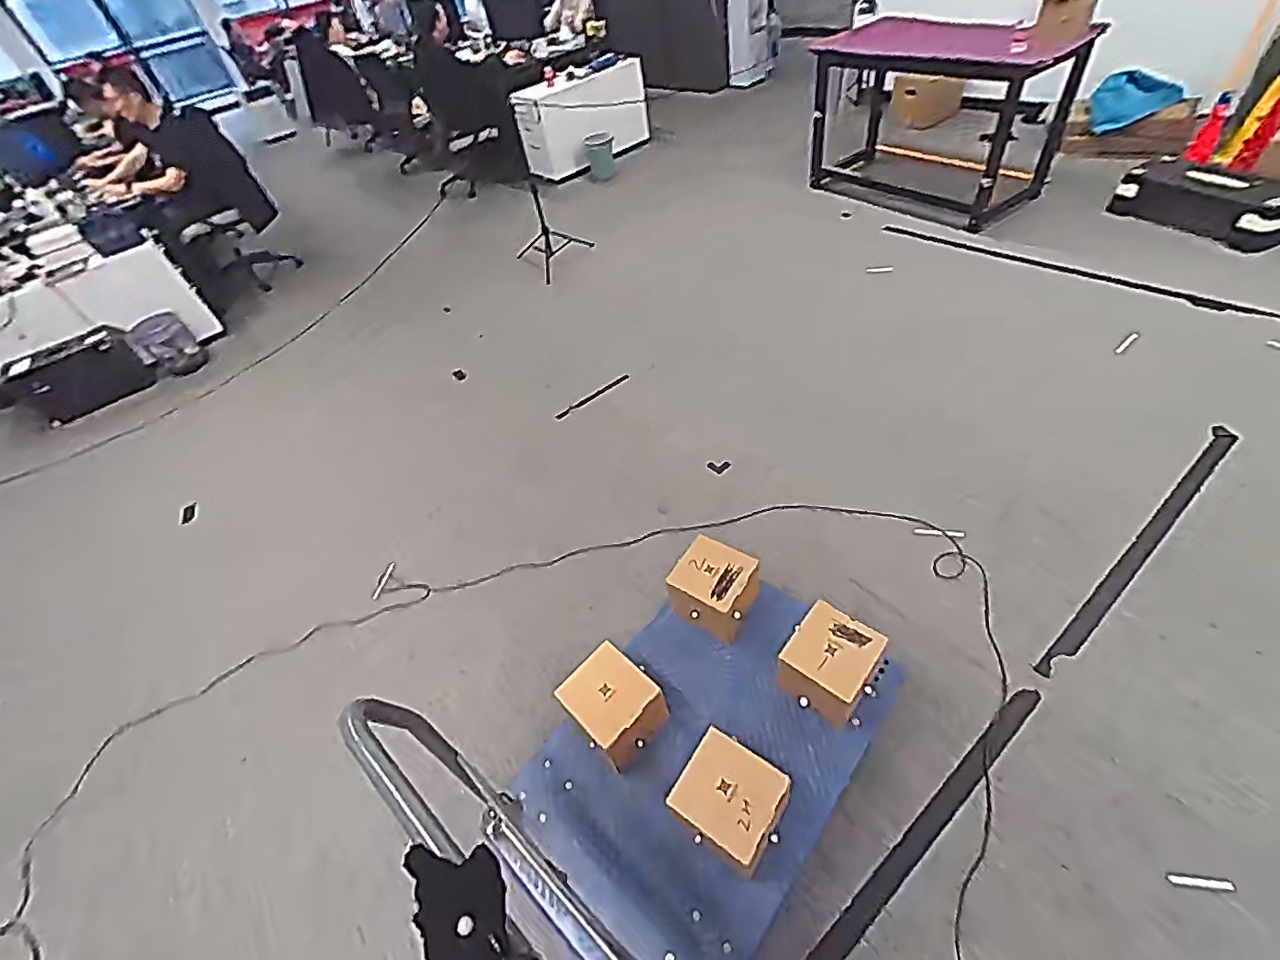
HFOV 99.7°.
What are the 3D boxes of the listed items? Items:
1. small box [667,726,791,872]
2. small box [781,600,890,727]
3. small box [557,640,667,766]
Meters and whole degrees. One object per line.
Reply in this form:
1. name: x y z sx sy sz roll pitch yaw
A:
1. small box: 0.177 0.626 1.058 0.179 0.176 0.168 24 57 30
2. small box: 0.426 0.409 1.204 0.168 0.176 0.179 29 60 33
3. small box: -0.058 0.506 1.221 0.179 0.176 0.168 33 61 33
